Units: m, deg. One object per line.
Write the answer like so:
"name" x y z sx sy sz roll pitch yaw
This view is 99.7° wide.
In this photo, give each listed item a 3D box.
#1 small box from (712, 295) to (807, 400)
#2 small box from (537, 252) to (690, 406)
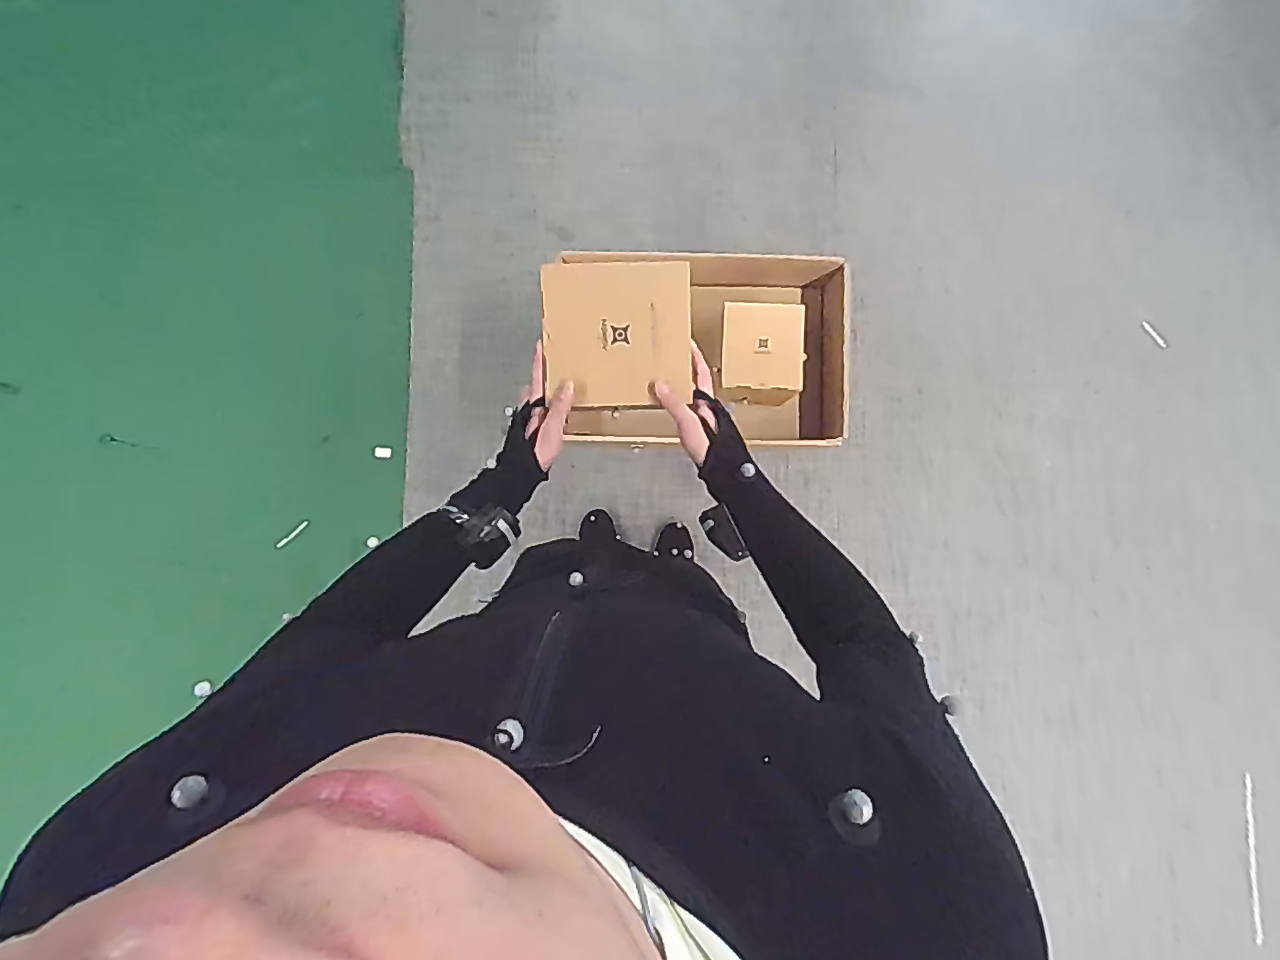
"small box" 0.248 -0.277 1.159 0.168 0.176 0.179 3 88 0
"small box" -0.031 -0.184 0.702 0.179 0.176 0.168 -2 96 -1
